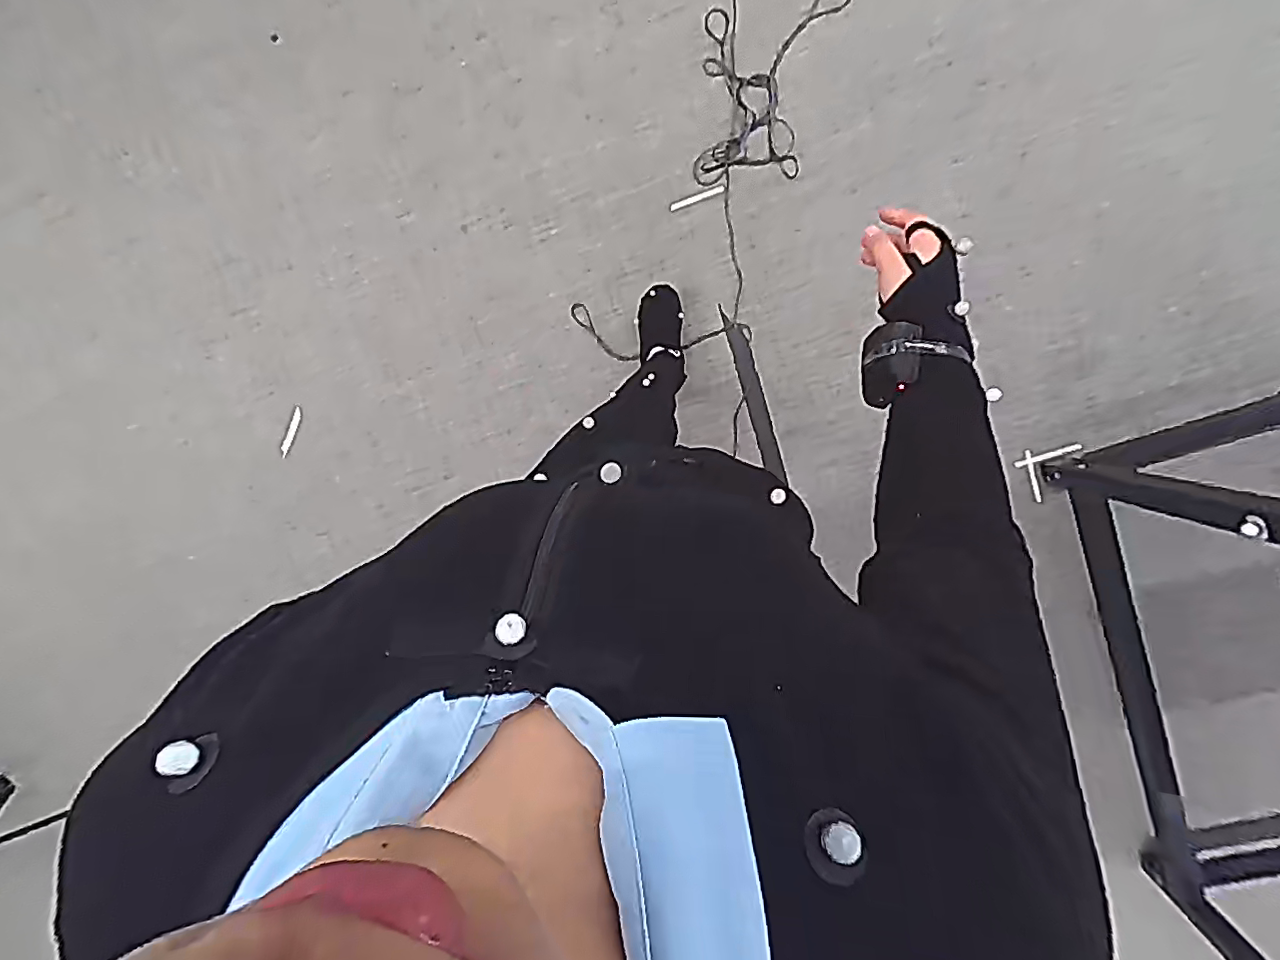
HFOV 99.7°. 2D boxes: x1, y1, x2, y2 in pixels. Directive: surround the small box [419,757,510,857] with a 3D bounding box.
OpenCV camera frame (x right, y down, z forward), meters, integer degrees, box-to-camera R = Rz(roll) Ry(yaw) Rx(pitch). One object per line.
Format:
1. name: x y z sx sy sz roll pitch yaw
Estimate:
1. small box: -0.497 0.939 1.565 0.179 0.176 0.168 -20 95 10
